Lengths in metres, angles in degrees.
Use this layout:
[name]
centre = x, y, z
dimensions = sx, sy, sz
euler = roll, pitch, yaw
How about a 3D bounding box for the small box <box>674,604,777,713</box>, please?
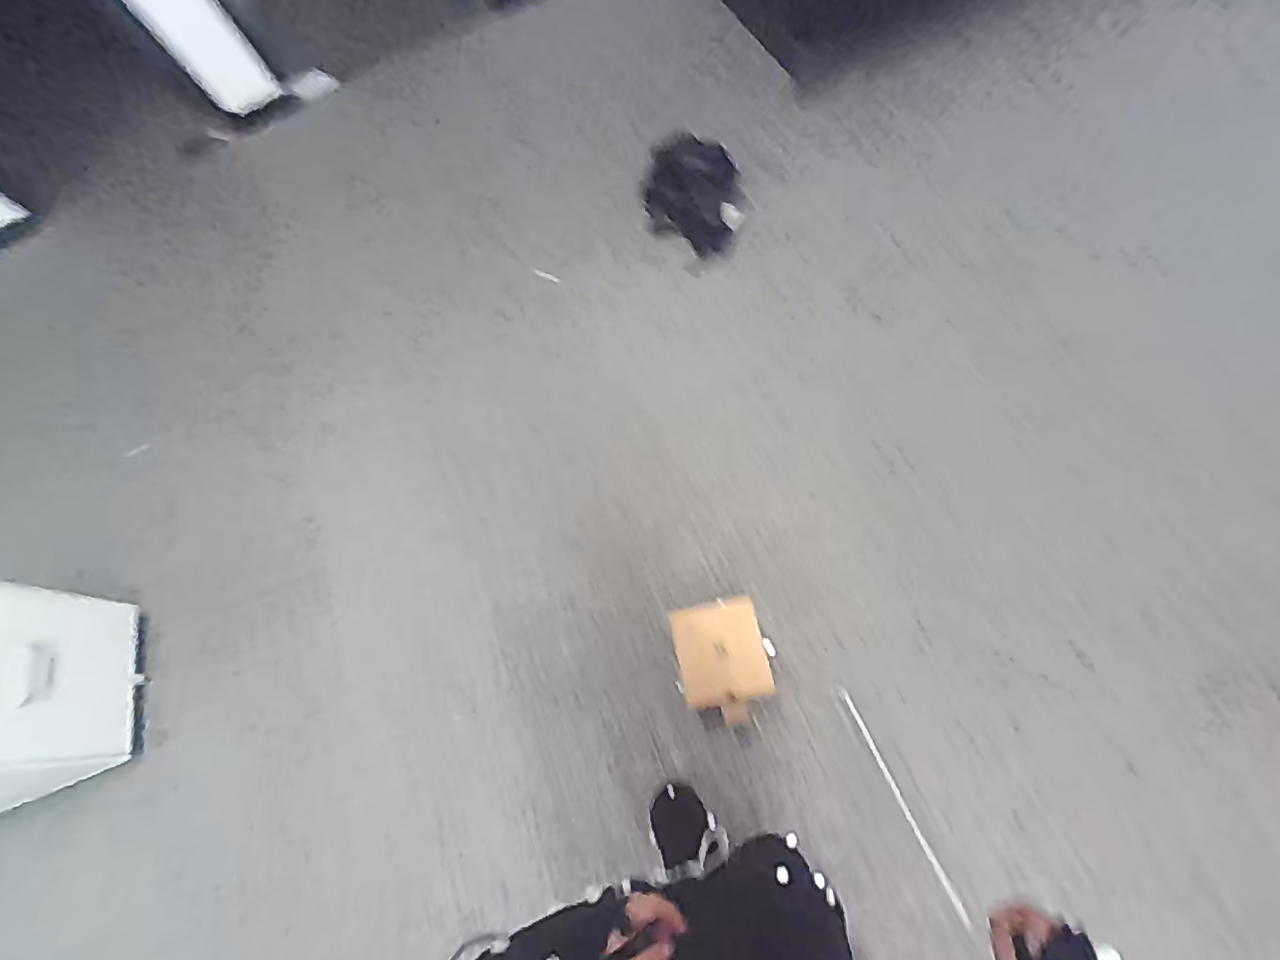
[small box]
centre = 0.169, 0.367, 1.093
dimensions = 0.168, 0.176, 0.179
euler = -13, 66, 5
